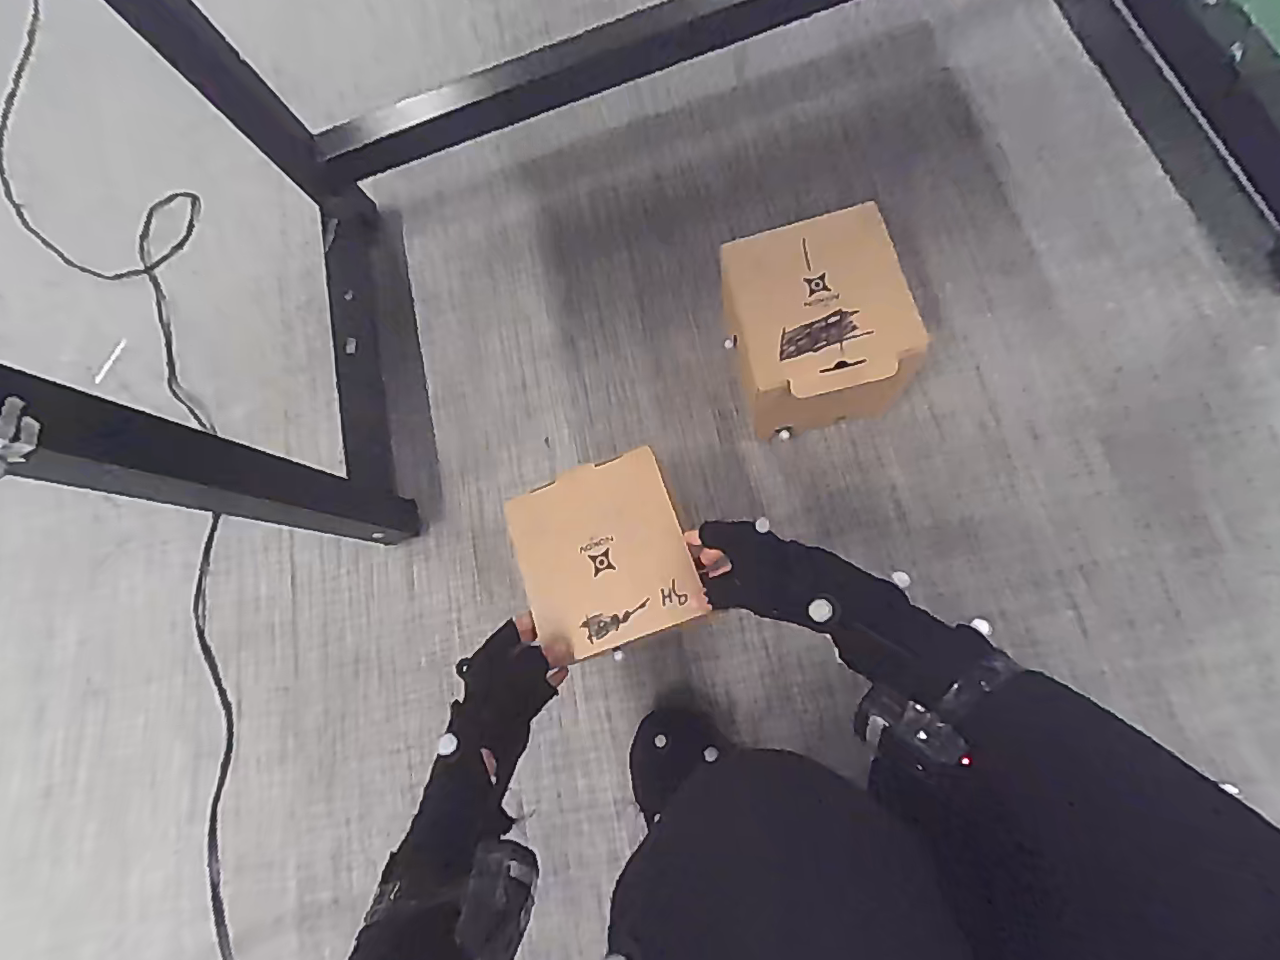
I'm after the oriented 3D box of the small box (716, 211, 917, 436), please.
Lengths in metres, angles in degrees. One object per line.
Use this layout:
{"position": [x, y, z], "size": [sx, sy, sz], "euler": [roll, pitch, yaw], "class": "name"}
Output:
{"position": [0.190, -0.161, 0.624], "size": [0.168, 0.176, 0.179], "euler": [-13, 73, 8], "class": "small box"}
